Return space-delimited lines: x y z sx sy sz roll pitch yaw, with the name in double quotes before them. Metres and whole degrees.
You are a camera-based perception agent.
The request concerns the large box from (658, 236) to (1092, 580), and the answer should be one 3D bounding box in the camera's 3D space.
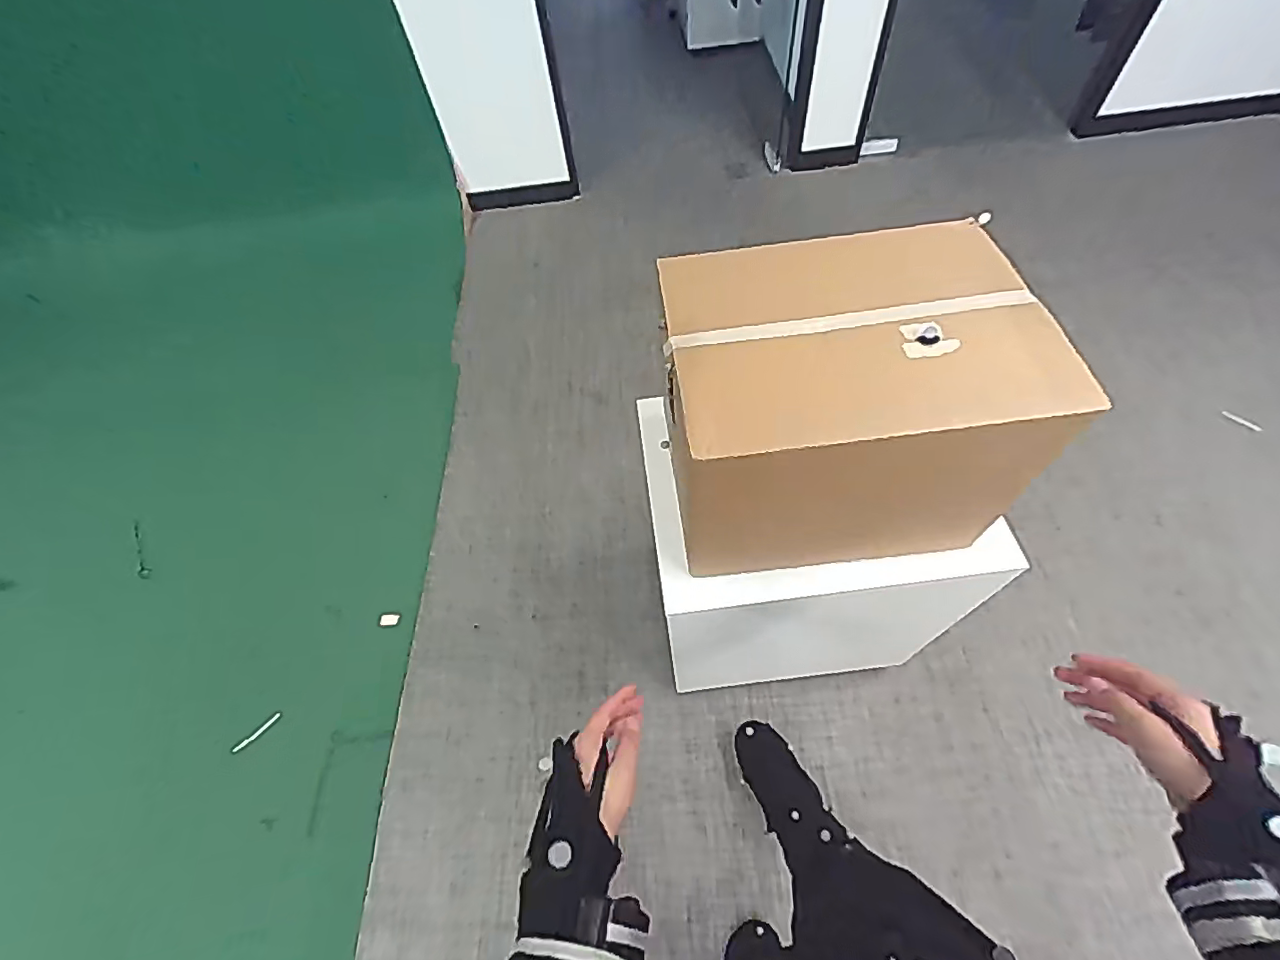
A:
"large box" 0.244 -0.083 0.736 0.408 0.320 0.320 -6 58 0
